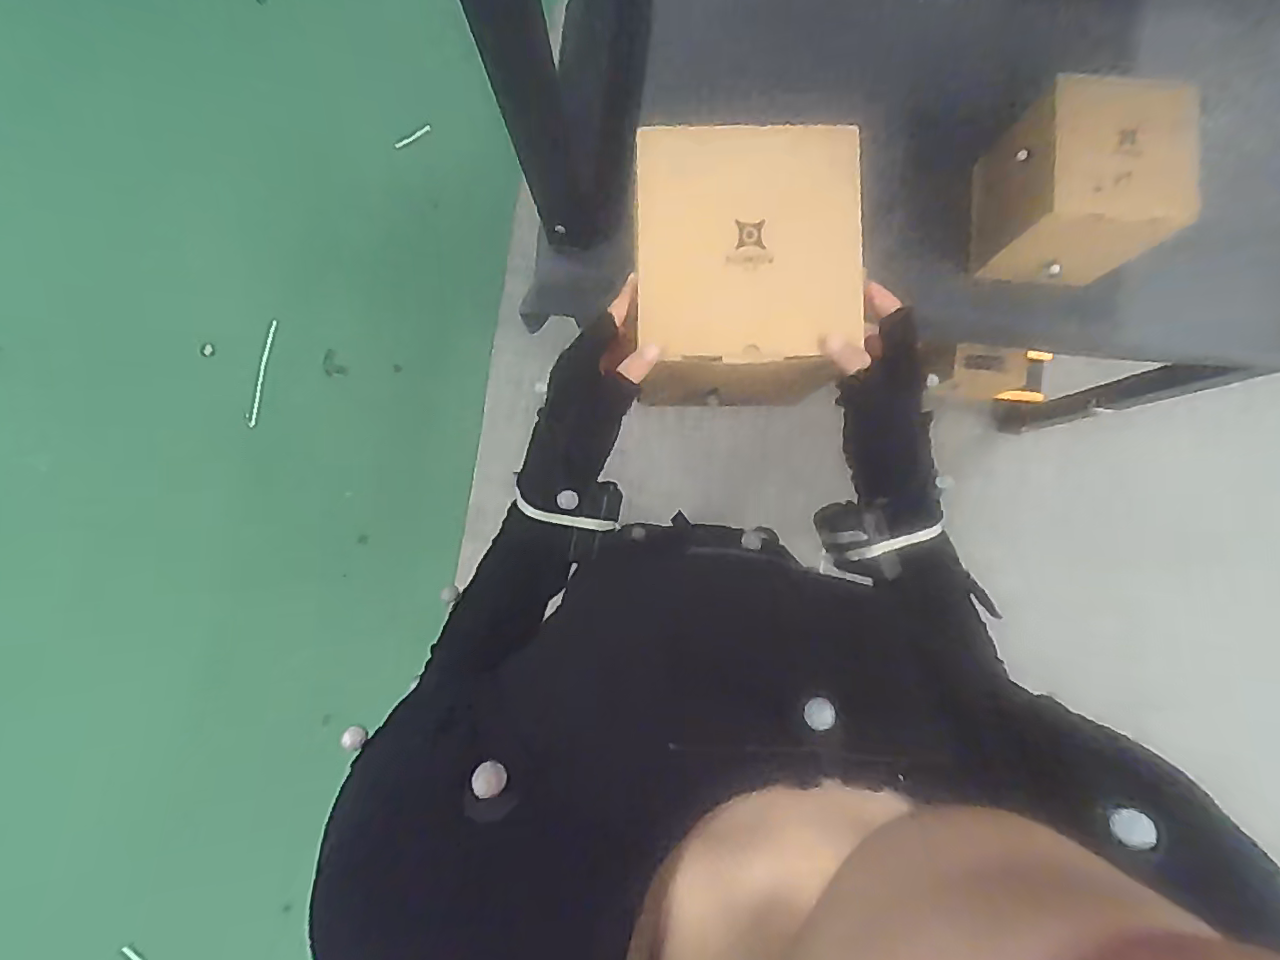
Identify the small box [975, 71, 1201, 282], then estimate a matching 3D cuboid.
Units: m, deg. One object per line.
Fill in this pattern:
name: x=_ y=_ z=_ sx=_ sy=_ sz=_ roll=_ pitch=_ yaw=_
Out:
small box: x=0.571 y=-0.387 z=0.713 sx=0.168 sy=0.176 sz=0.179 roll=5 pitch=84 yaw=3
